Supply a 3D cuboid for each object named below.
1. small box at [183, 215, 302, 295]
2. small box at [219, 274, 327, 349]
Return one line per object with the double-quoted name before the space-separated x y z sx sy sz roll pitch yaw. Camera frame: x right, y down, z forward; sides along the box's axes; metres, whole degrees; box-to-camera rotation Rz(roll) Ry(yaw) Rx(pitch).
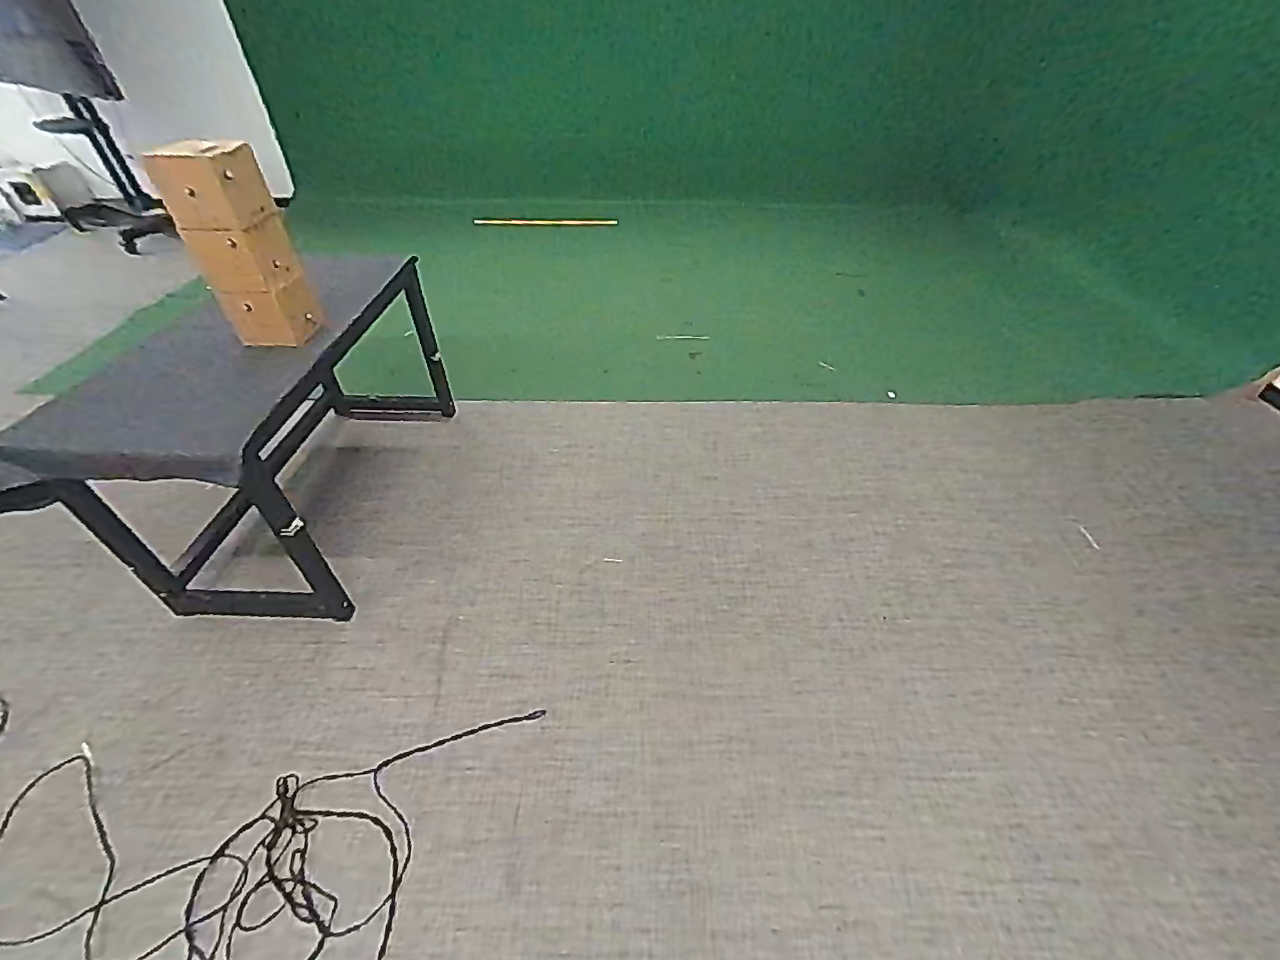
"small box" -1.094 -0.624 1.506 0.179 0.176 0.168 2 42 3
"small box" -1.084 -0.502 1.612 0.179 0.176 0.168 1 43 2
